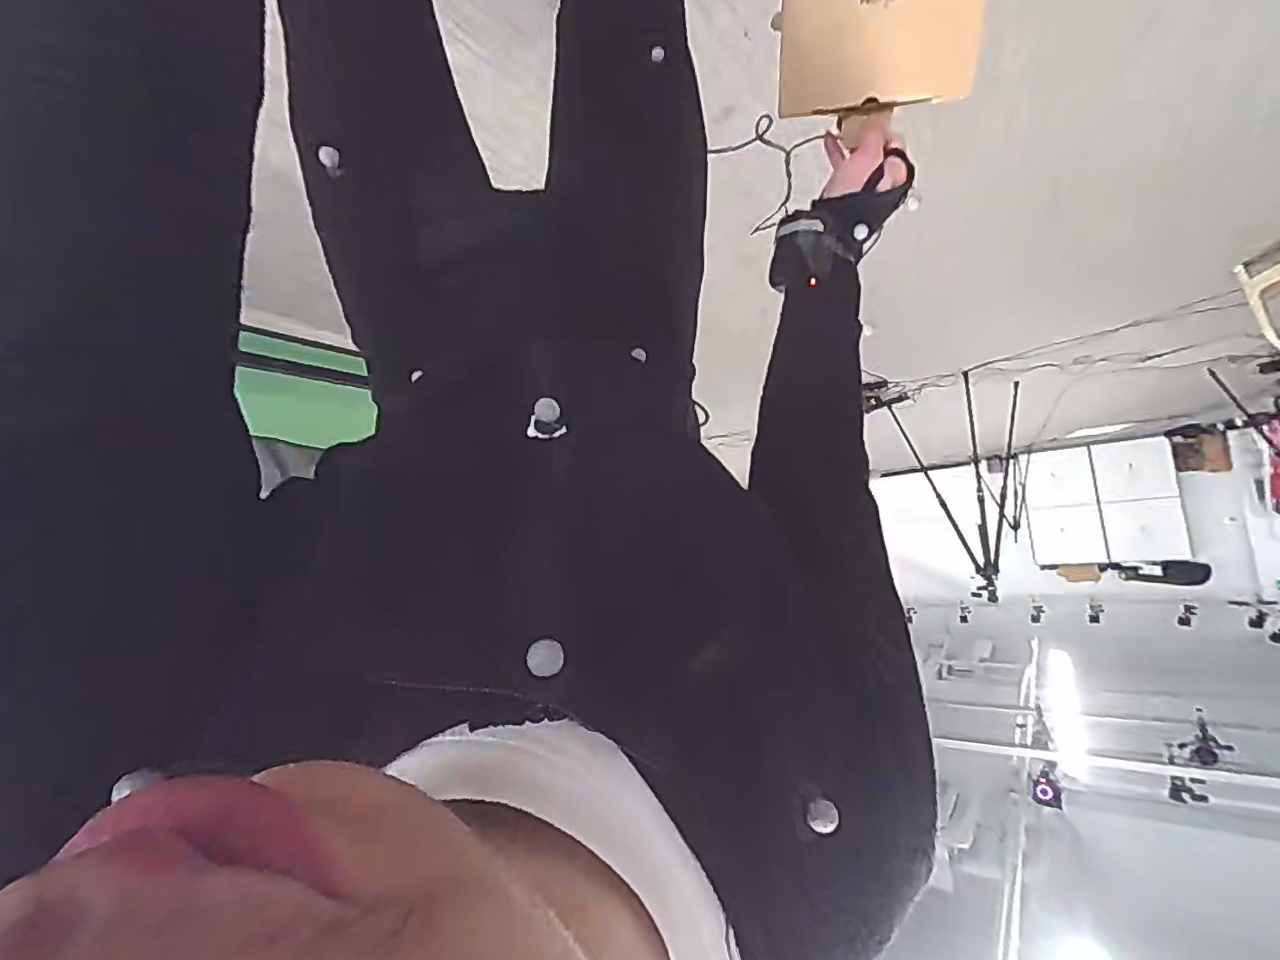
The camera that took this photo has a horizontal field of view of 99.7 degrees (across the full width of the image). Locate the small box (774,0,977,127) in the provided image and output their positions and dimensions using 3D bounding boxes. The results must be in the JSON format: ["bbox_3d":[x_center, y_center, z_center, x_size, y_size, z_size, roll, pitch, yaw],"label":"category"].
[{"bbox_3d":[0.221,-0.457,0.521,0.168,0.179,0.176,2,-148,18],"label":"small box"}]
